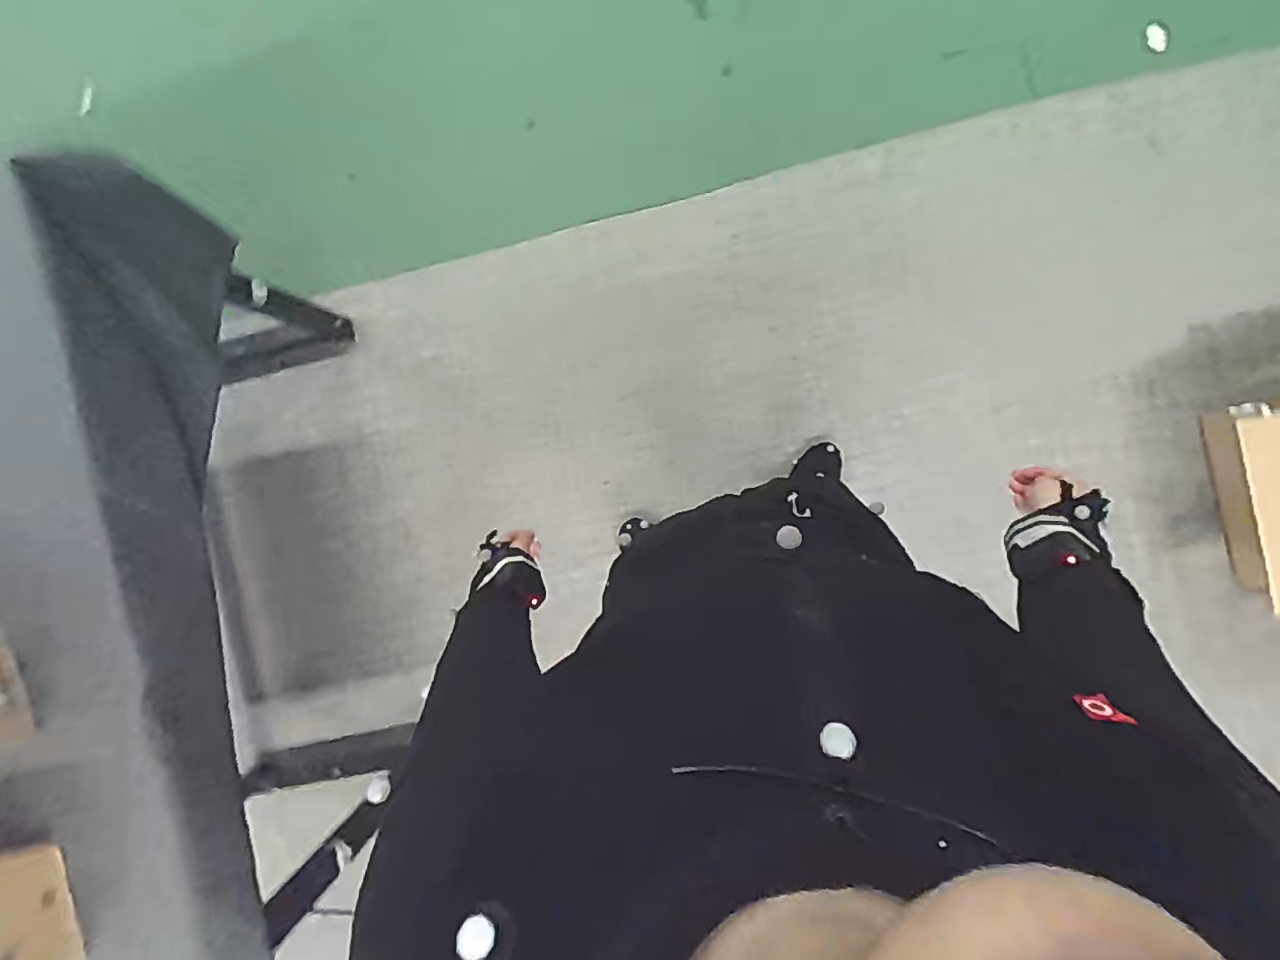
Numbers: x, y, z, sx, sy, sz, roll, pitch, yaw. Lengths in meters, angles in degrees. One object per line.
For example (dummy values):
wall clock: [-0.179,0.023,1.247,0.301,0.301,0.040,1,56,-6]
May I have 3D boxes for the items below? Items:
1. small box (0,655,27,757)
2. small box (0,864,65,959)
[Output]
small box: [-0.914,0.305,0.638,0.179,0.176,0.168,-21,91,5]
small box: [-0.846,0.596,0.639,0.179,0.176,0.168,-15,90,6]
